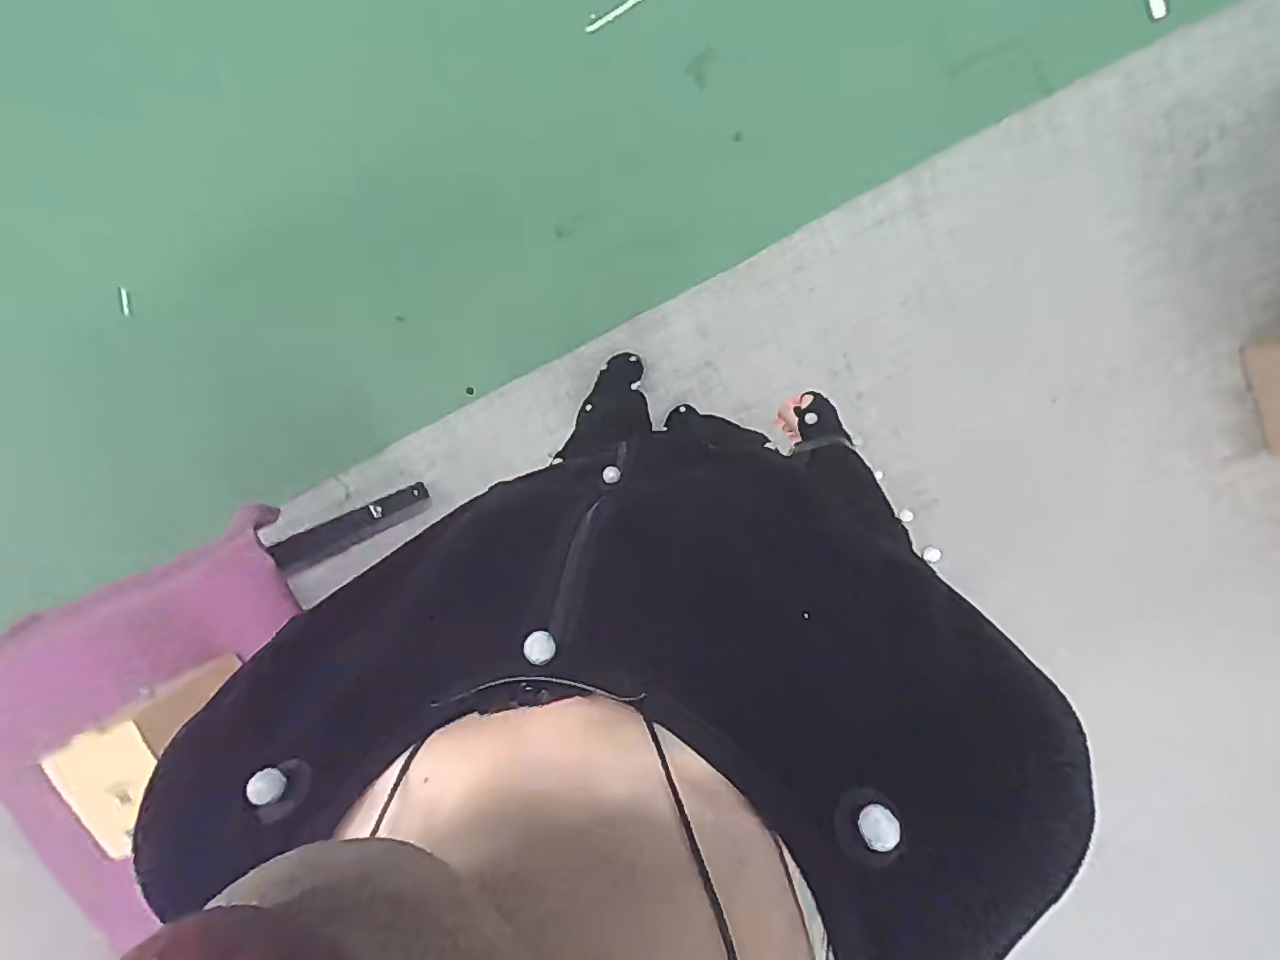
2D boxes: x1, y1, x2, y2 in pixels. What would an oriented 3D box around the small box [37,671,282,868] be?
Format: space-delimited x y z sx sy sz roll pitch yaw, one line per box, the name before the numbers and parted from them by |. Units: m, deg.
small box | -0.683 0.405 0.790 0.168 0.176 0.179 -24 97 10
